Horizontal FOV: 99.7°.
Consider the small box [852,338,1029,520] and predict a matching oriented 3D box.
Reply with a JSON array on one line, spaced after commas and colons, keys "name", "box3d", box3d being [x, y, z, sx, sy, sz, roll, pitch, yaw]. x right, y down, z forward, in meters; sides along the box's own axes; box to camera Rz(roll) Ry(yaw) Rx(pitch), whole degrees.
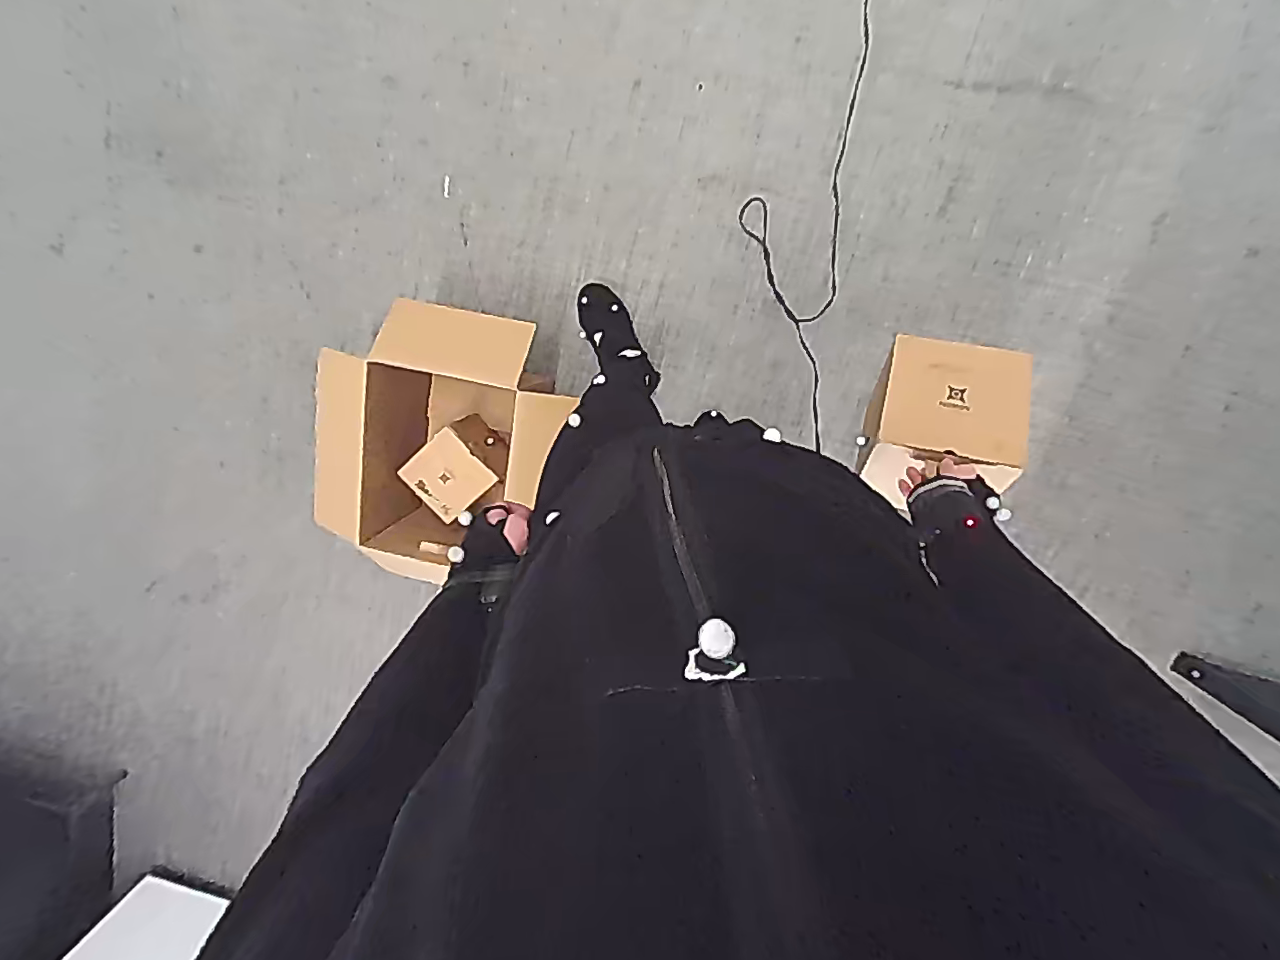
[{"name": "small box", "box3d": [0.404, -0.064, 0.750, 0.168, 0.176, 0.179, 14, 65, 14]}]
